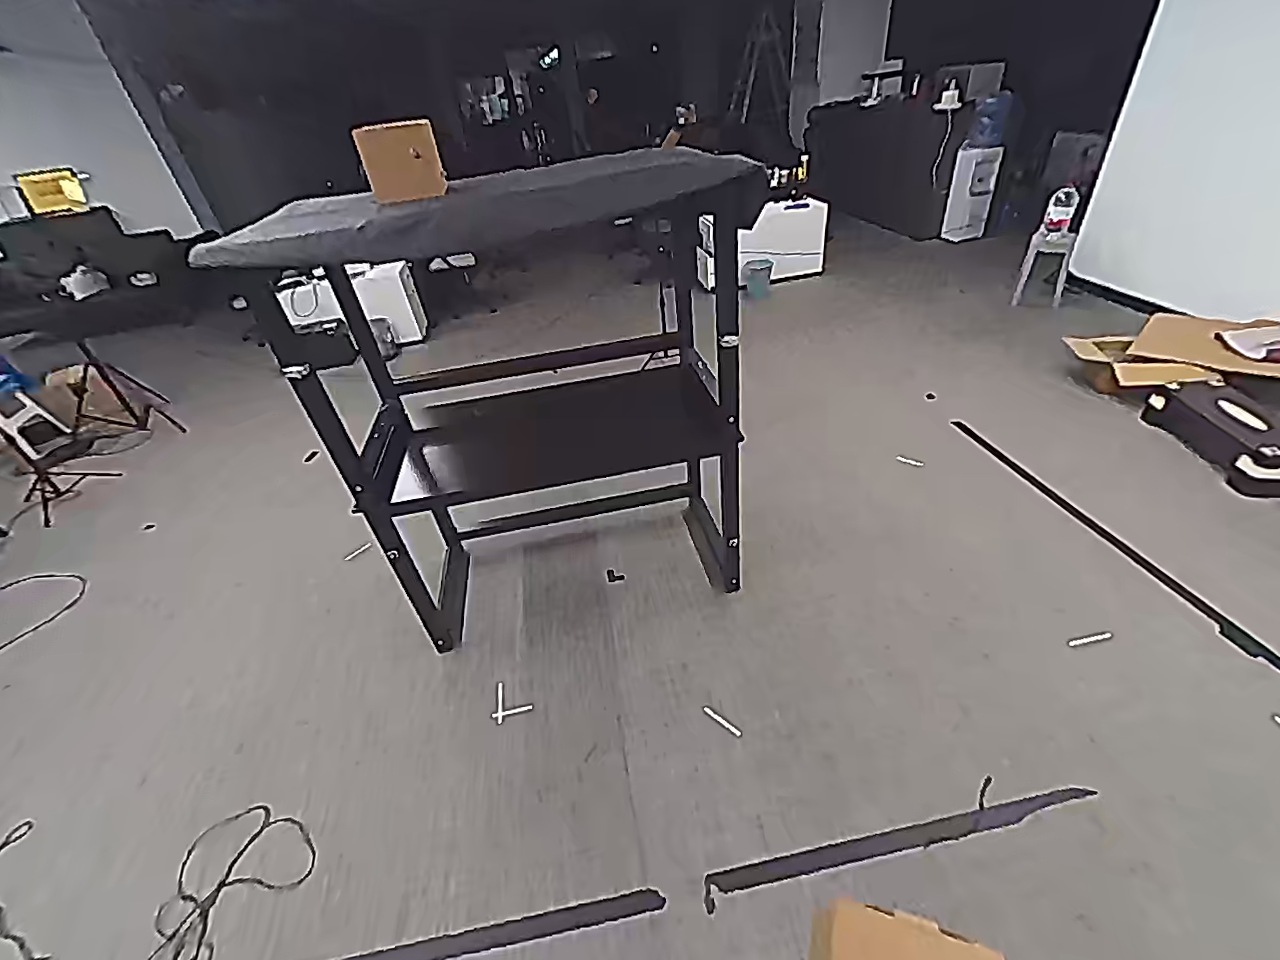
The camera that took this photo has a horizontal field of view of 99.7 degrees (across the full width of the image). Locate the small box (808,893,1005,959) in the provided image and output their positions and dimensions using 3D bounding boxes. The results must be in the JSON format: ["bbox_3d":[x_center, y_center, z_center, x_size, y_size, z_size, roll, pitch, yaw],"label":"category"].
[{"bbox_3d":[0.266,0.568,0.558,0.168,0.176,0.179,8,49,15],"label":"small box"}]
